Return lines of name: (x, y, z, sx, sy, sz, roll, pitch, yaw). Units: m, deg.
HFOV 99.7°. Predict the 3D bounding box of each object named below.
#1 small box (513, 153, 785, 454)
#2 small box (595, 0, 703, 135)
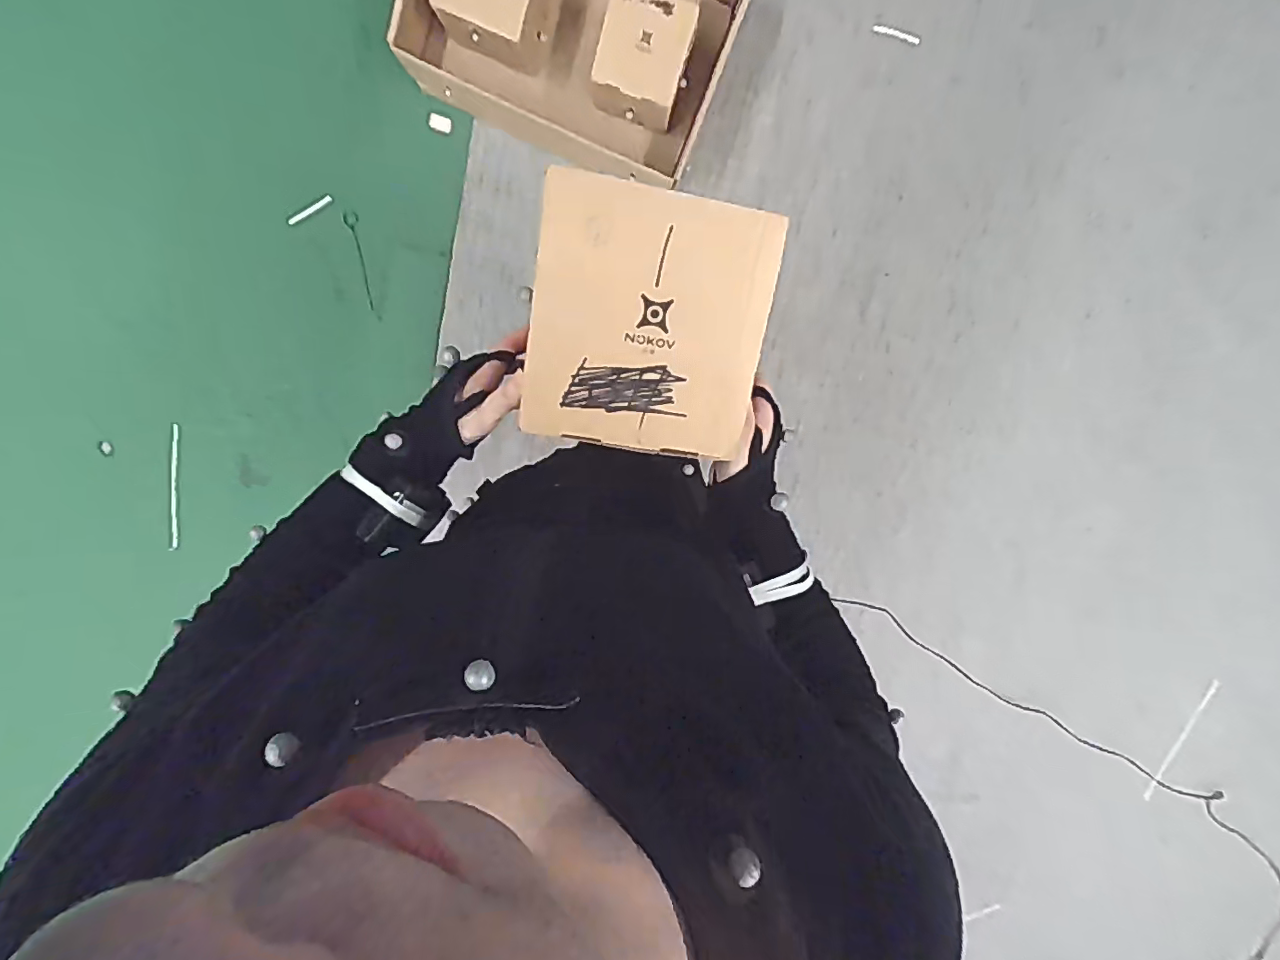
small box: (-0.004, -0.134, 0.449, 0.168, 0.176, 0.179, 8, 105, -9)
small box: (0.018, -0.837, 1.097, 0.168, 0.176, 0.179, 17, 107, -5)
